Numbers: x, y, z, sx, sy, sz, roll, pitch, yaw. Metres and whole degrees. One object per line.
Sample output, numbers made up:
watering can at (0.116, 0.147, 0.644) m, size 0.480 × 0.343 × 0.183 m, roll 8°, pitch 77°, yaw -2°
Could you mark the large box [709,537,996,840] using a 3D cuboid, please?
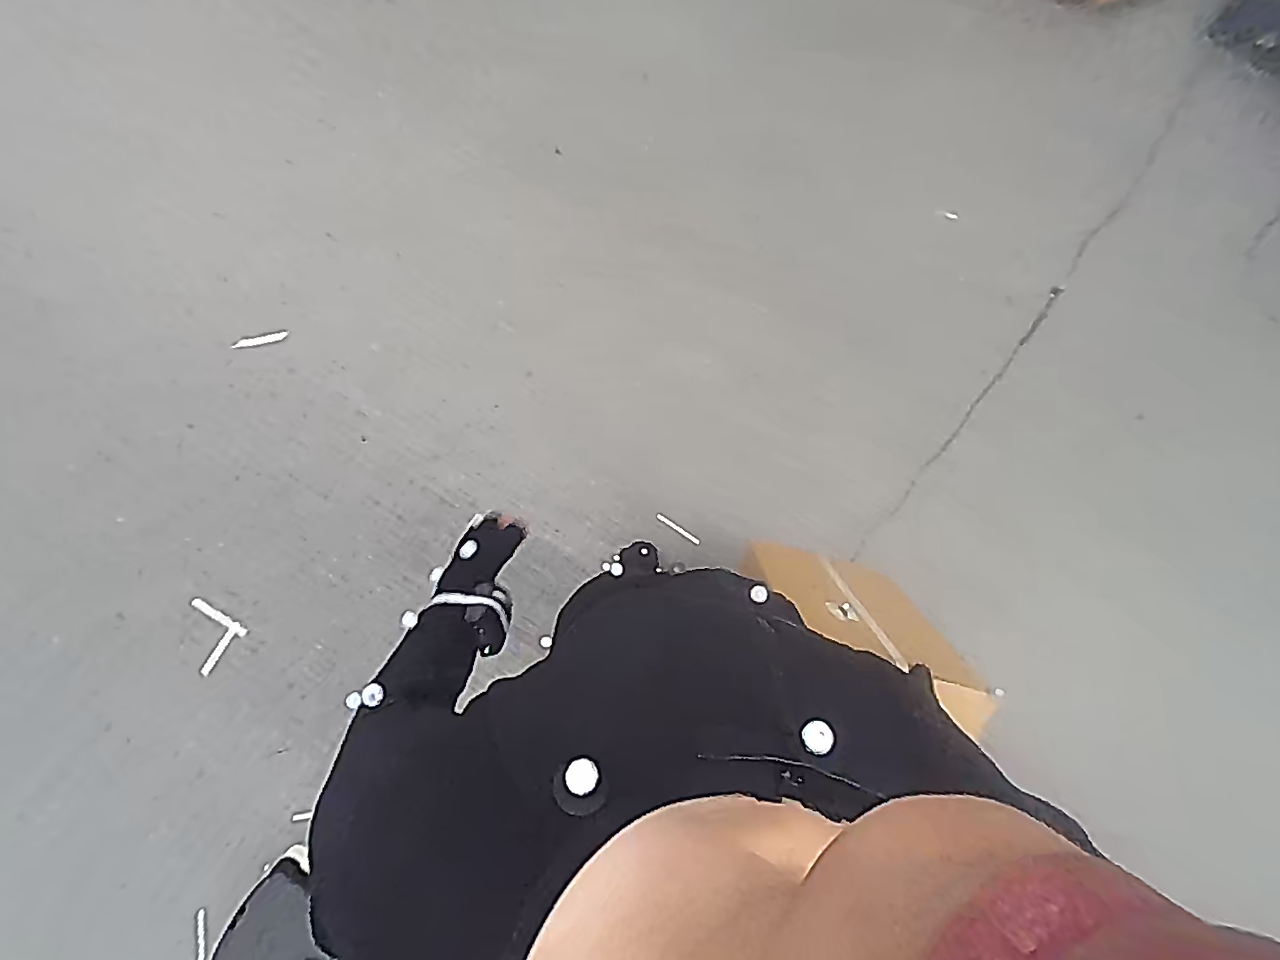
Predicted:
large box at (0.338, 0.354, 1.012) m, size 0.320 × 0.408 × 0.320 m, roll 15°, pitch 106°, yaw -3°
